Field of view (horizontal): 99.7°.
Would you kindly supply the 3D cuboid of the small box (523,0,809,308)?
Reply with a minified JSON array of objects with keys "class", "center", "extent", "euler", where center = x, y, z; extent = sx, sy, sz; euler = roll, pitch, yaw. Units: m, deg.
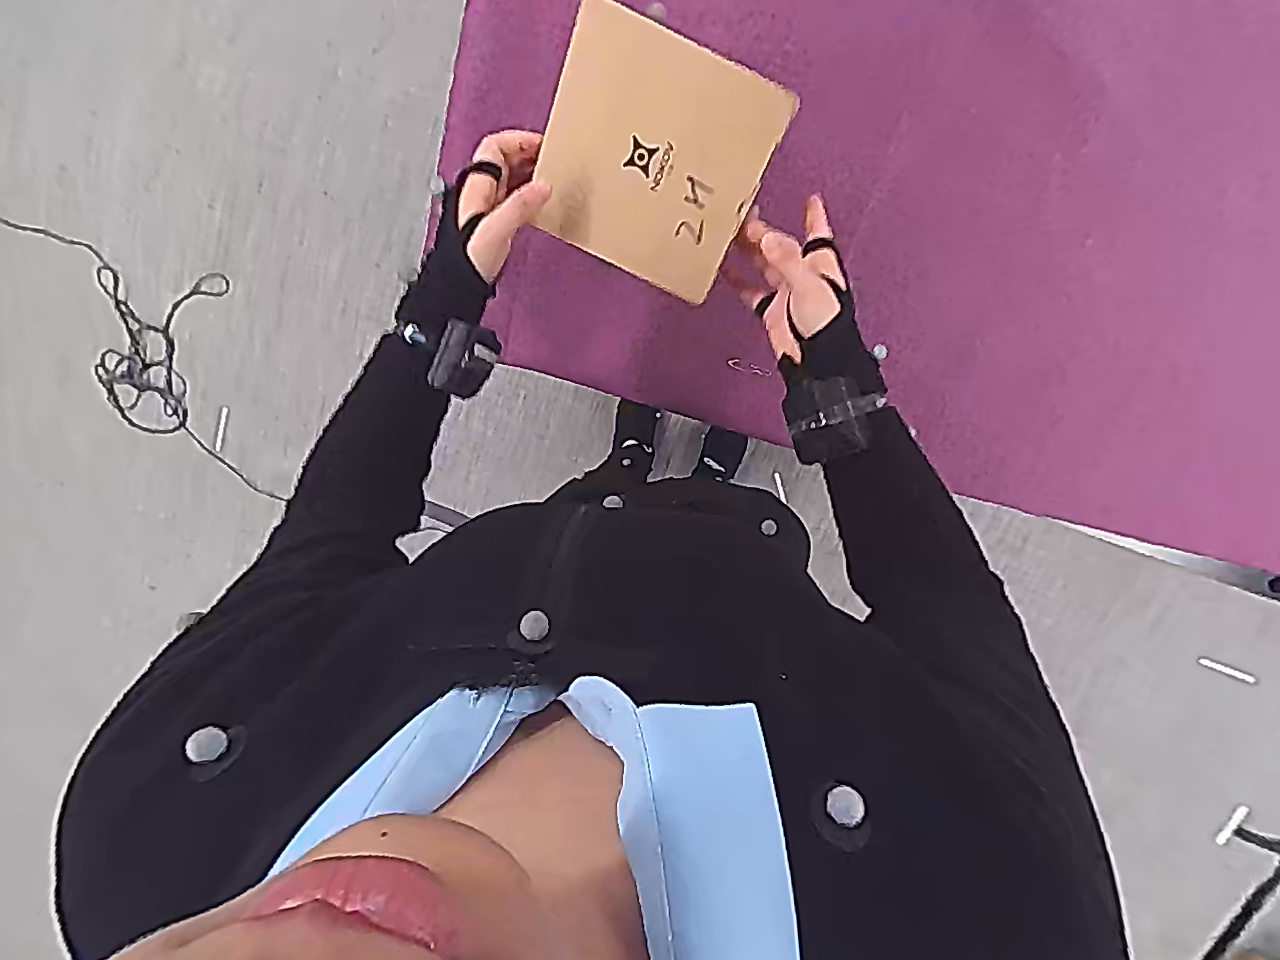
[{"class":"small box","center":[0.025,-0.285,0.495],"extent":[0.179,0.176,0.168],"euler":[29,119,-6]}]
